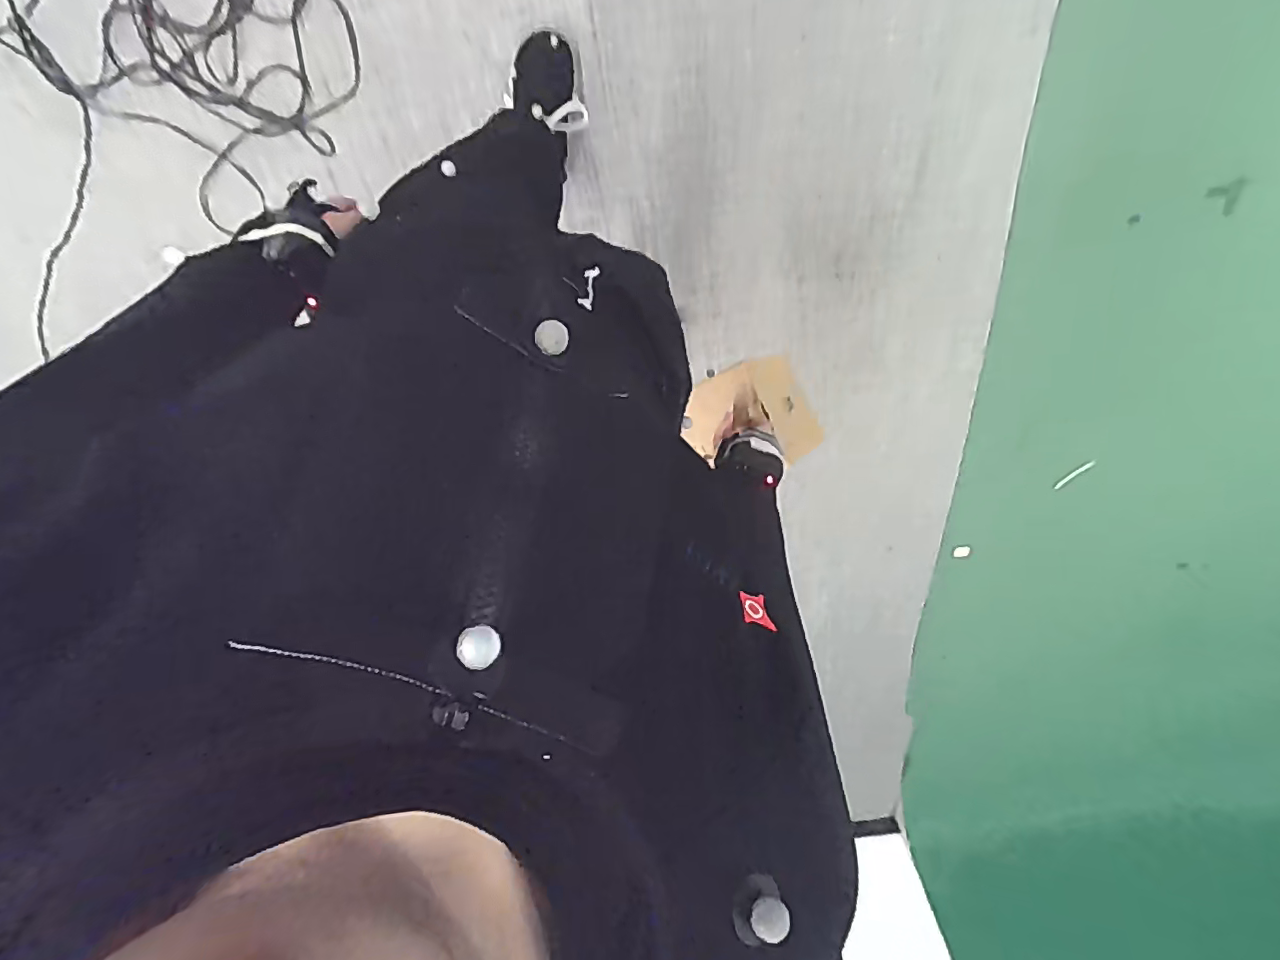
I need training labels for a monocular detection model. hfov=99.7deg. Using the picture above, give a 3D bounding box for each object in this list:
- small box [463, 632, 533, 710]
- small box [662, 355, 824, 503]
[{"bbox_3d":[-0.464,0.636,1.803,0.168,0.176,0.179,-9,123,4],"label":"small box"},{"bbox_3d":[0.155,-0.078,0.843,0.176,0.179,0.168,-22,93,37],"label":"small box"}]
